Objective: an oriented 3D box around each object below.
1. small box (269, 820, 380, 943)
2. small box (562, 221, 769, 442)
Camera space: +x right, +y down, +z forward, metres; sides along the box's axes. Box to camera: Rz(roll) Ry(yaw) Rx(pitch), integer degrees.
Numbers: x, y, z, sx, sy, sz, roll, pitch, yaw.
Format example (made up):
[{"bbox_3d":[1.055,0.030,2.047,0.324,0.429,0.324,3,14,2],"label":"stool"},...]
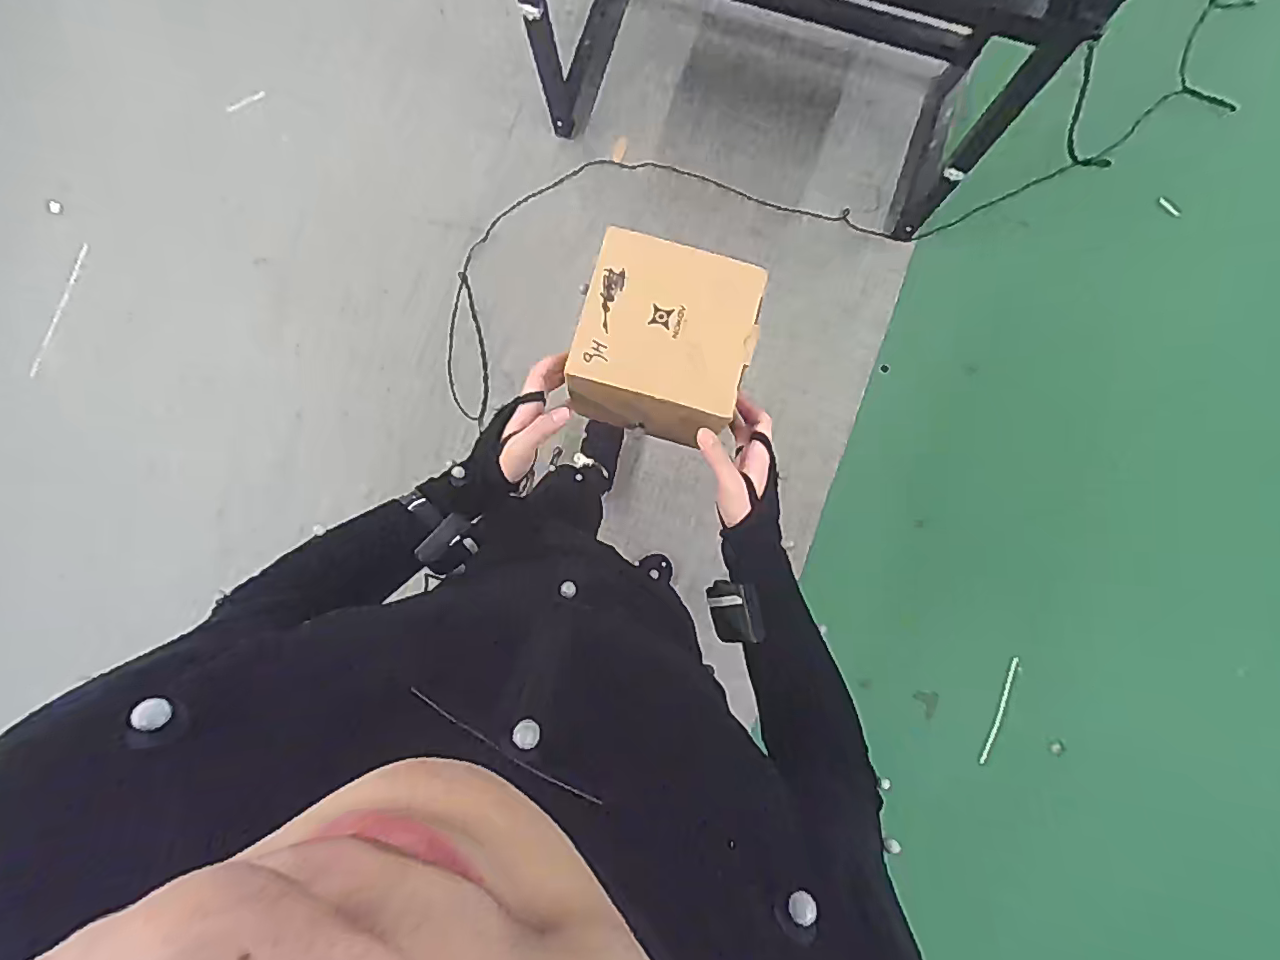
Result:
[{"bbox_3d":[-0.827,1.055,1.440,0.168,0.176,0.179,23,86,3],"label":"small box"},{"bbox_3d":[0.021,-0.151,0.616,0.179,0.176,0.168,16,80,-2],"label":"small box"}]
